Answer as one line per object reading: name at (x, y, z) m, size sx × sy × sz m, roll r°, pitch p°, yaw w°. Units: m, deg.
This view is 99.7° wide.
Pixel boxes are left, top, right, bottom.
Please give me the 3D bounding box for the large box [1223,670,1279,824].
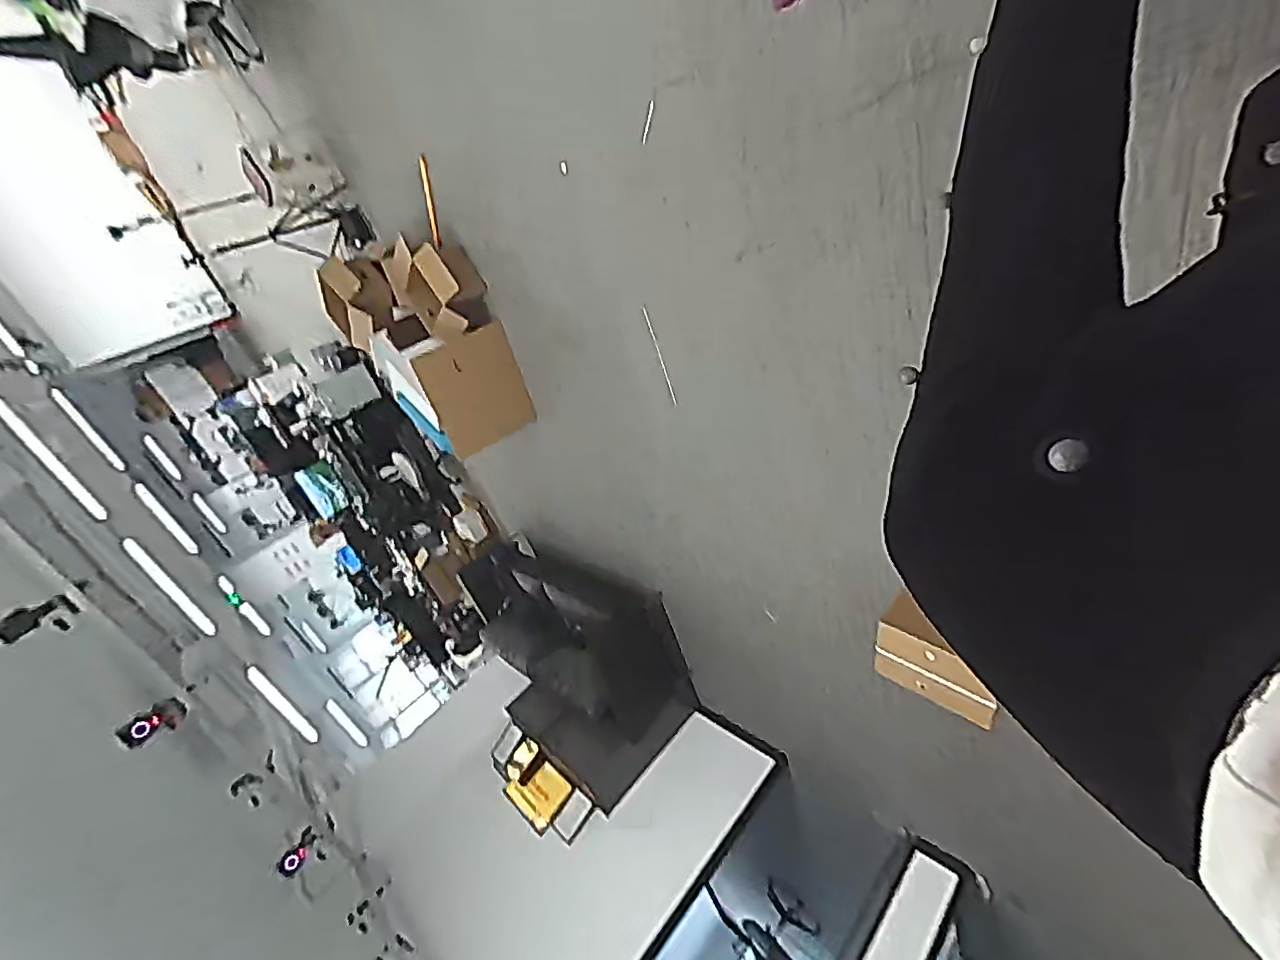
large box at (1.745, 0.666, 1.274) m, size 0.320 × 0.320 × 0.408 m, roll 50°, pitch 149°, yaw 1°
